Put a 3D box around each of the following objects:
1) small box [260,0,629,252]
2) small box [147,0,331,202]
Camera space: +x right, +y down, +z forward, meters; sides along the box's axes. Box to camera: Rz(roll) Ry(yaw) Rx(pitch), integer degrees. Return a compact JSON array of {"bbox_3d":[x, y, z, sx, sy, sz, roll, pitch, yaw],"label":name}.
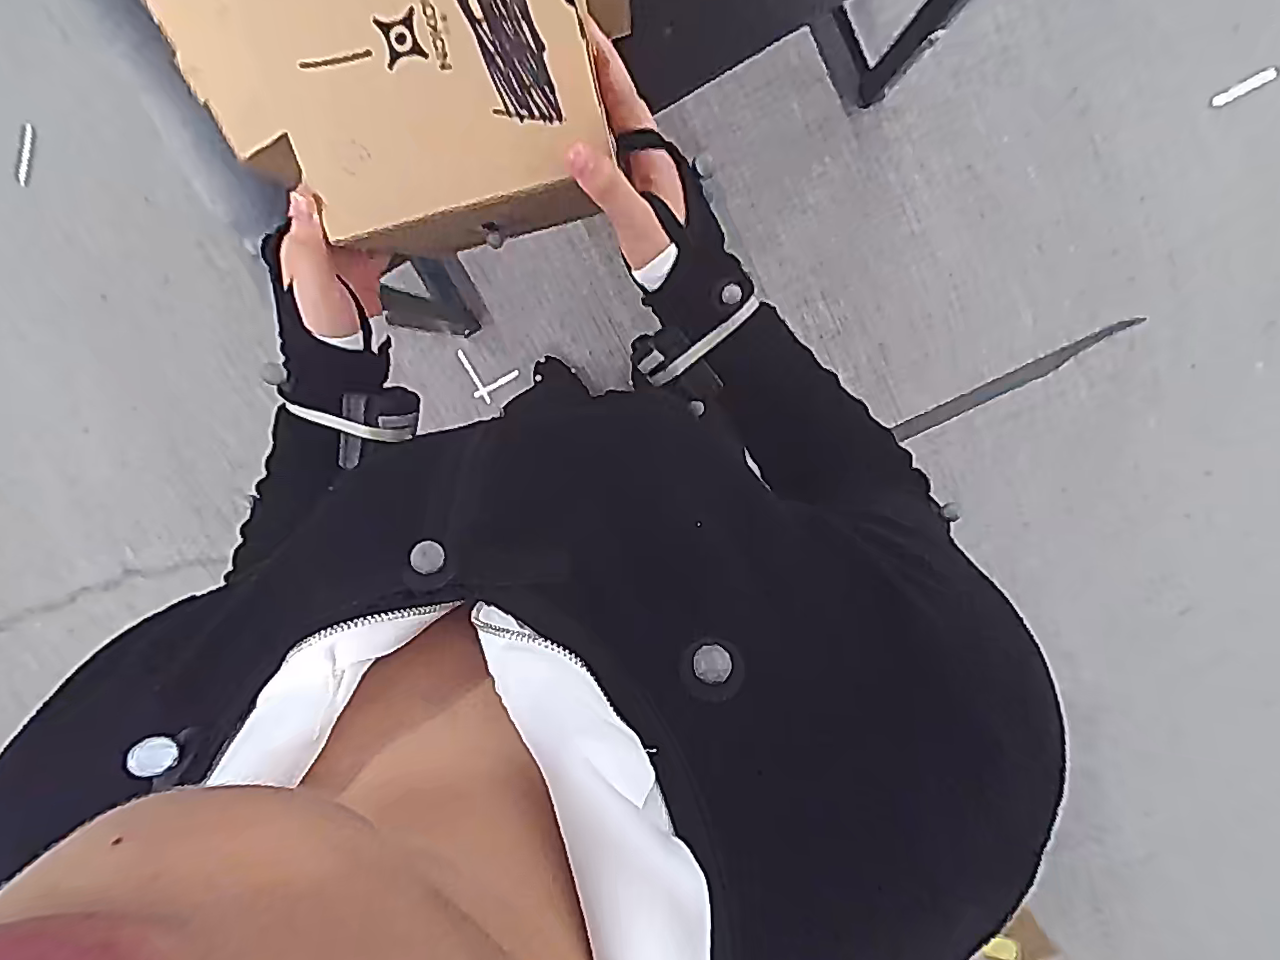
[{"bbox_3d":[-0.106,-0.260,0.364,0.179,0.176,0.168,-10,109,5],"label":"small box"},{"bbox_3d":[-0.344,-0.431,0.581,0.179,0.176,0.168,-27,100,6],"label":"small box"}]
